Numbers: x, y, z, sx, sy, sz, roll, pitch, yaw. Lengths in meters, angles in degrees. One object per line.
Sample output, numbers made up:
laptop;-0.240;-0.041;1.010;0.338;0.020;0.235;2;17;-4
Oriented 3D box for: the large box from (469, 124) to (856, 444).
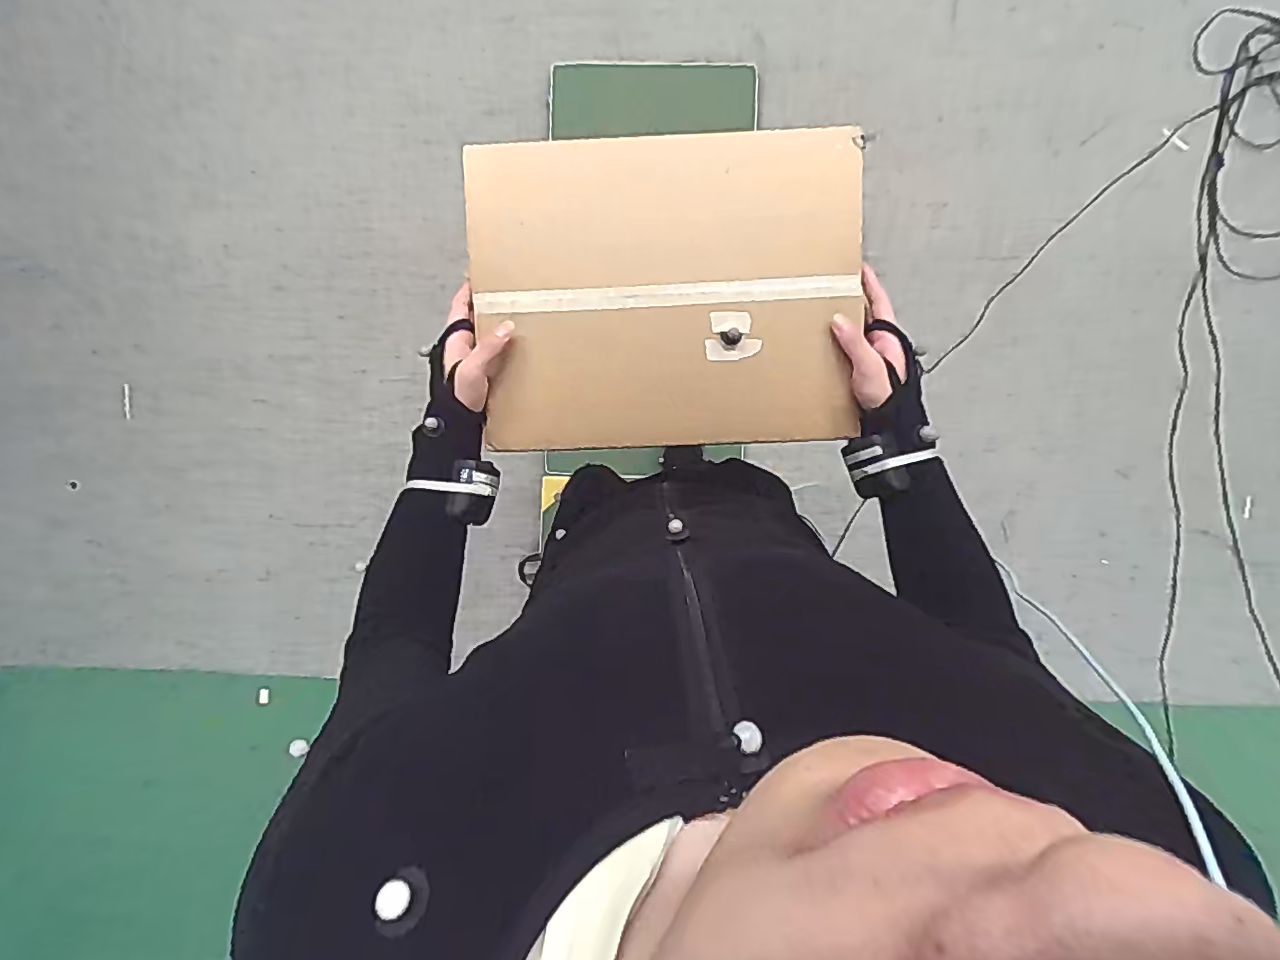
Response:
large box;0.027;-0.218;0.720;0.408;0.320;0.320;-2;97;0
